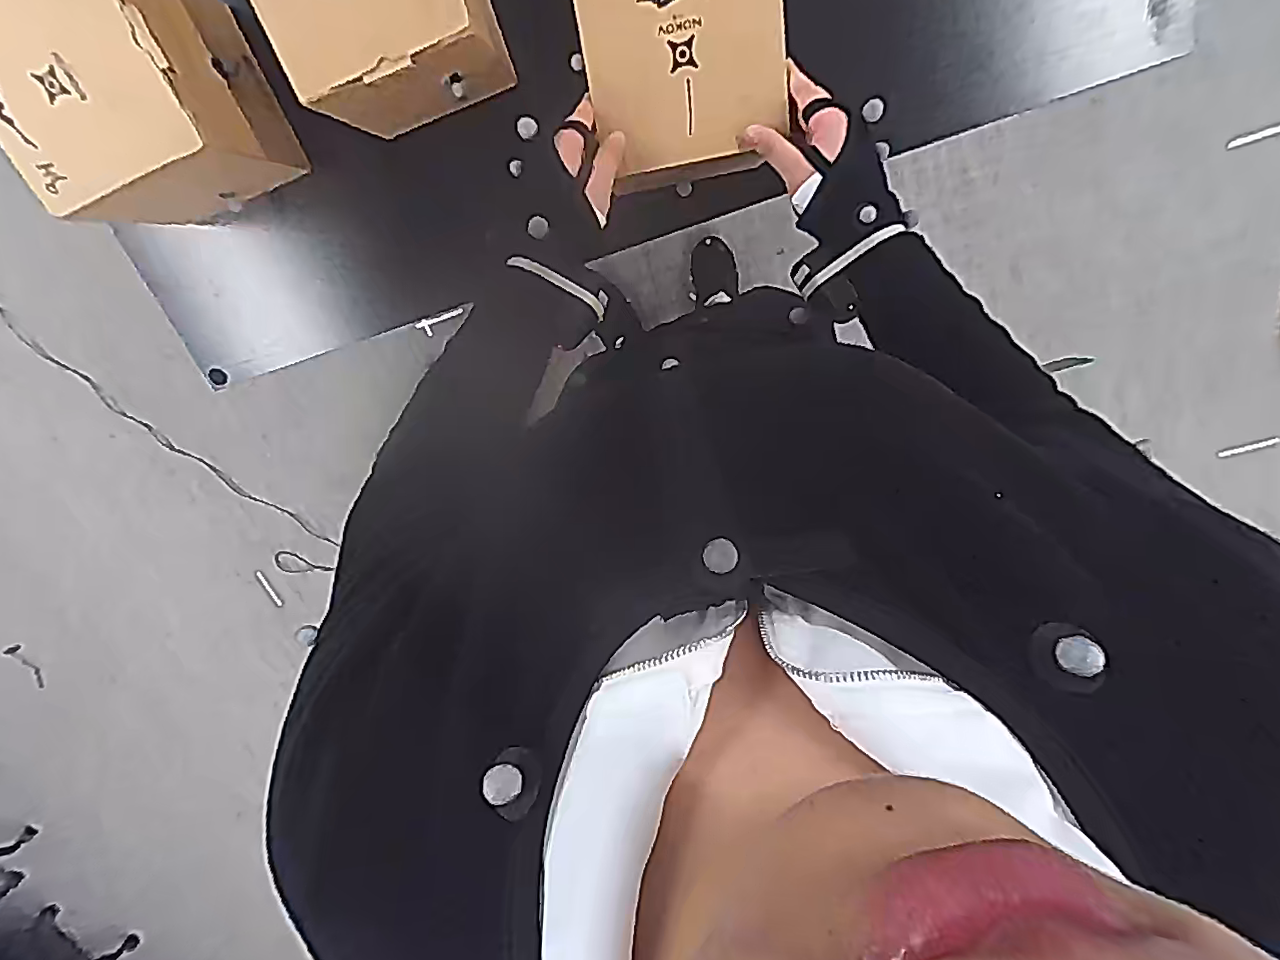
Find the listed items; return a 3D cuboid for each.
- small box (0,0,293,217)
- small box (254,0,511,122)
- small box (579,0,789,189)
[{"bbox_3d":[-0.483,-0.373,0.527,0.179,0.176,0.168,-19,112,7],"label":"small box"},{"bbox_3d":[-0.236,-0.454,0.491,0.168,0.176,0.179,-17,112,7],"label":"small box"},{"bbox_3d":[0.036,-0.392,0.512,0.168,0.176,0.179,-8,114,4],"label":"small box"}]
